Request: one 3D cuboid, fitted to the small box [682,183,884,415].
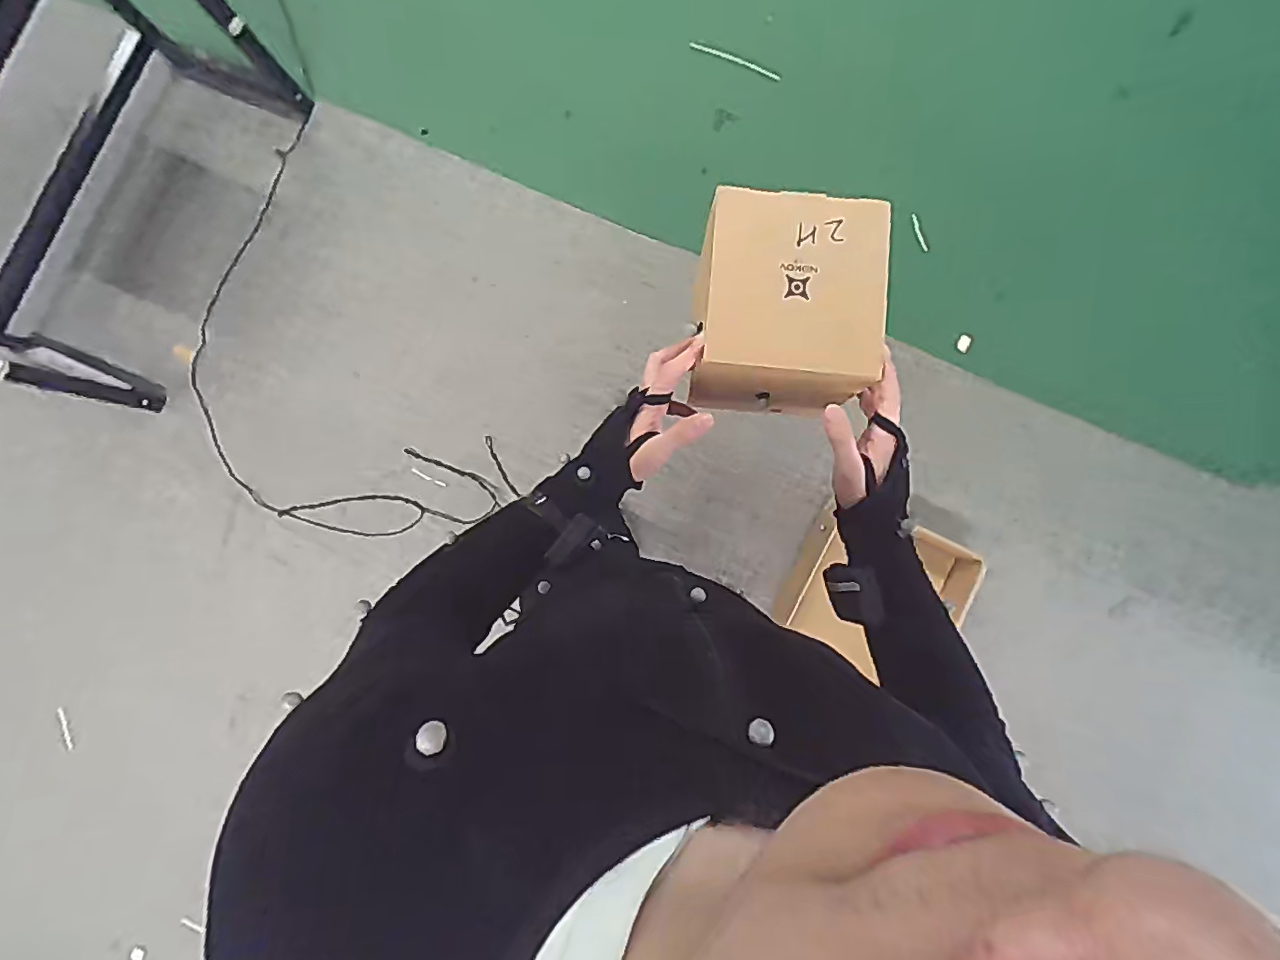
[{"bbox_3d":[0.137,-0.175,0.573,0.168,0.176,0.179,5,83,0],"label":"small box"}]
